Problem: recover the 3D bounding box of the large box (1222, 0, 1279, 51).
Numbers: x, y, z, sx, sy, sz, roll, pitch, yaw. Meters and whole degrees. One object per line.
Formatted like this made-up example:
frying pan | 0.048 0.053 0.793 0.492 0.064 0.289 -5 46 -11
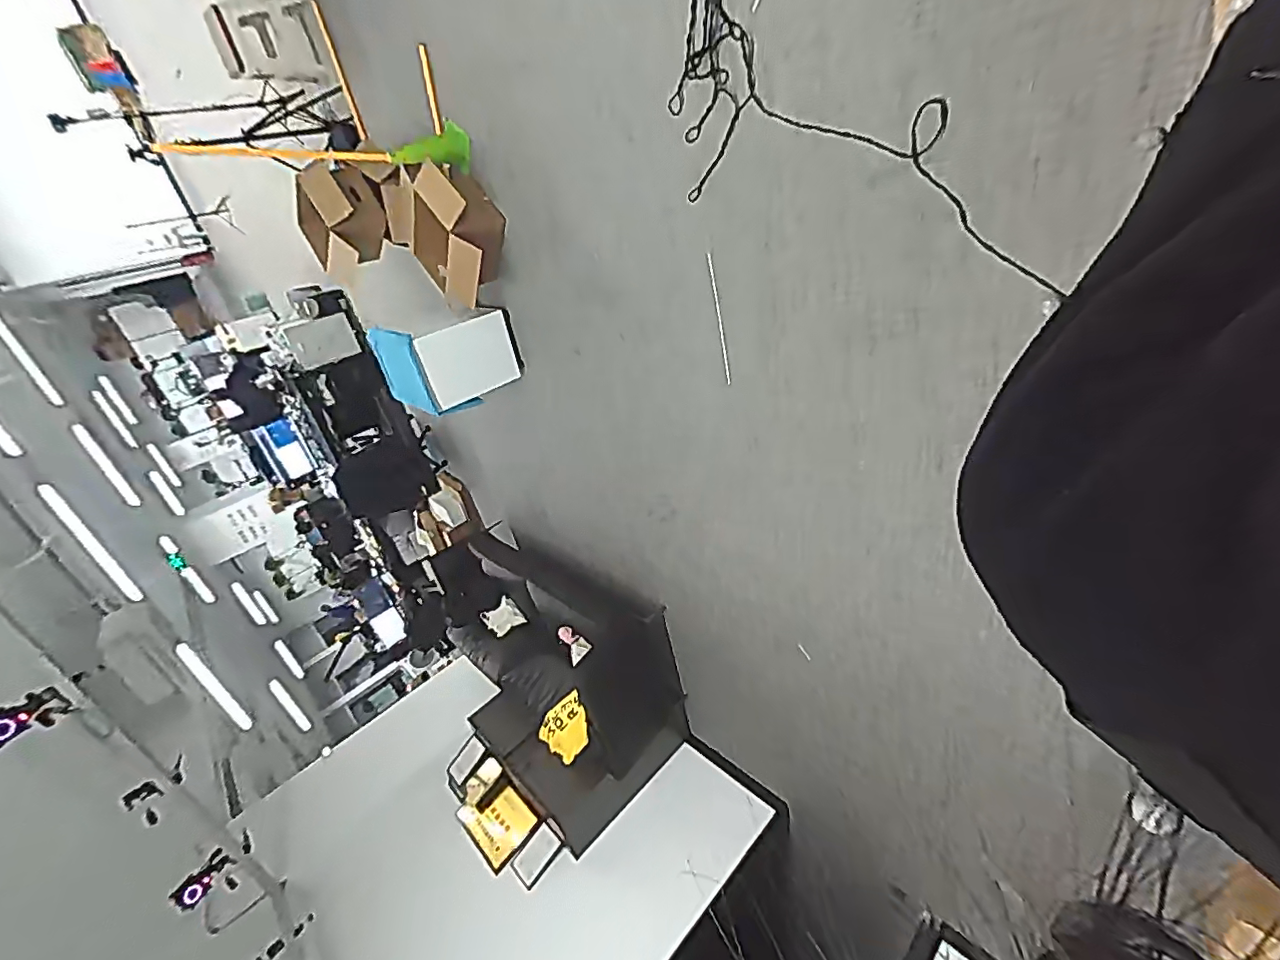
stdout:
large box | 0.966 -0.755 0.603 0.408 0.320 0.320 9 123 50
